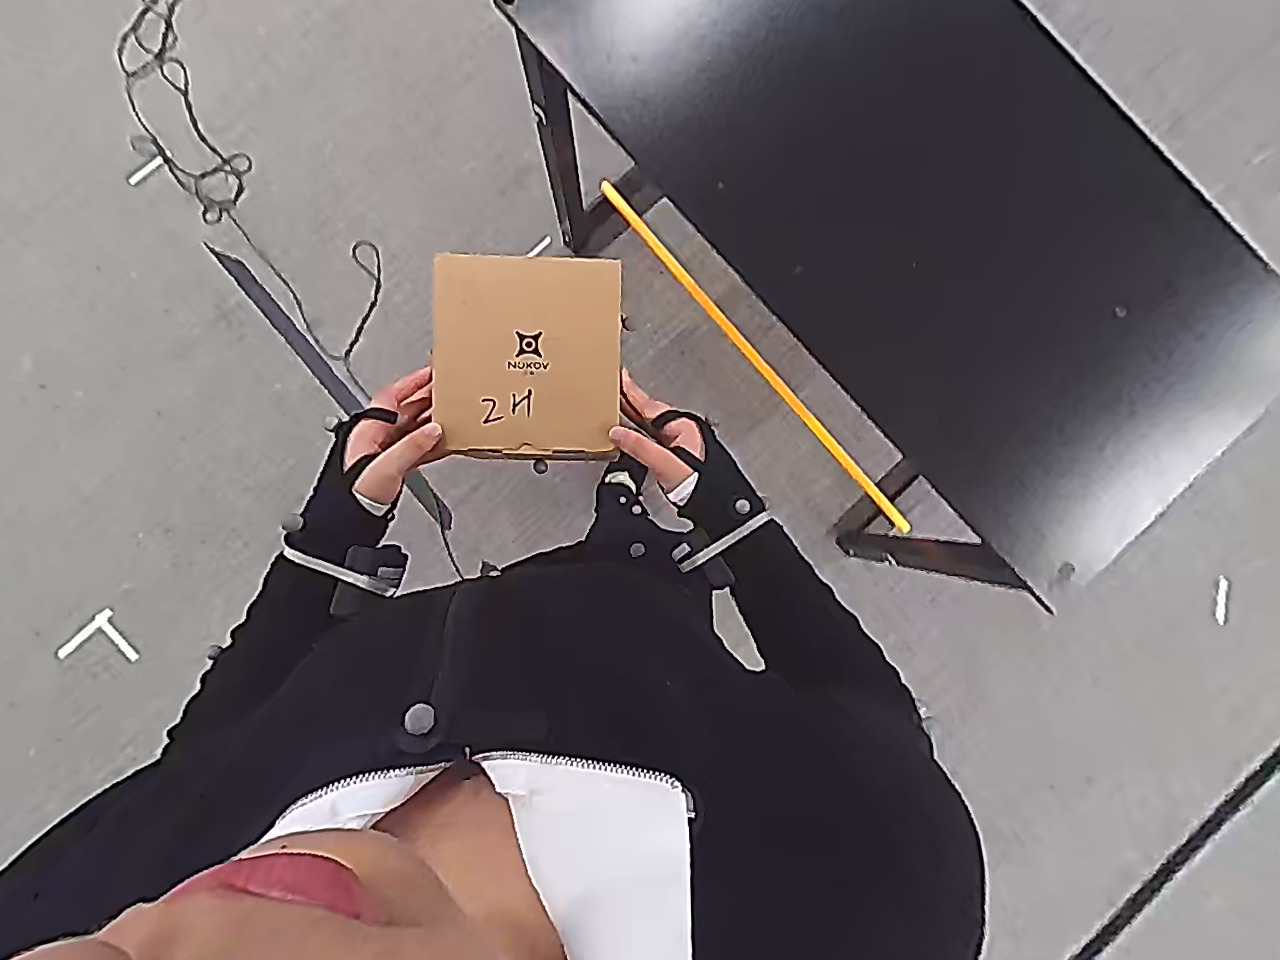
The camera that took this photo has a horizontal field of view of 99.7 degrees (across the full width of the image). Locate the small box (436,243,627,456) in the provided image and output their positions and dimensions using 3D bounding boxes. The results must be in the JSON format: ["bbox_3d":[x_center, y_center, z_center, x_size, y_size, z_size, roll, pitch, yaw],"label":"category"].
[{"bbox_3d":[-0.101,-0.119,0.559,0.168,0.176,0.179,1,90,-3],"label":"small box"}]
